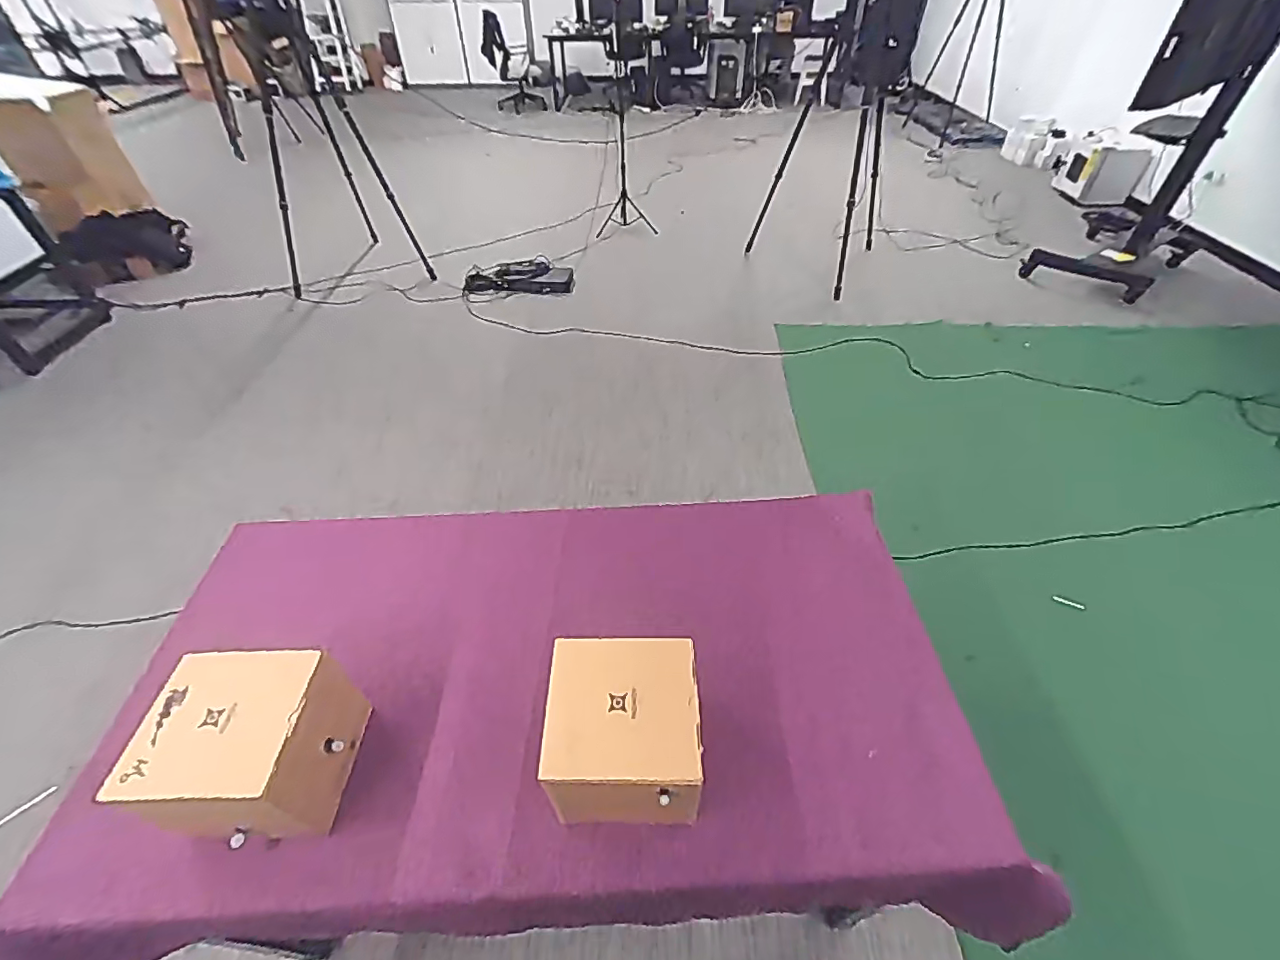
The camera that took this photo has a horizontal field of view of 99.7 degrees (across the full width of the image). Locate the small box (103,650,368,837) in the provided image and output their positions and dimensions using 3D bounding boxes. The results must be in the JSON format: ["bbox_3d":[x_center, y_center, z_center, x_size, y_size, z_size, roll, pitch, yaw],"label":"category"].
[{"bbox_3d":[-0.473,0.329,0.674,0.179,0.176,0.168,-1,44,0],"label":"small box"}]

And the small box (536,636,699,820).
[{"bbox_3d":[-0.021,0.313,0.679,0.179,0.176,0.168,0,45,1],"label":"small box"}]
